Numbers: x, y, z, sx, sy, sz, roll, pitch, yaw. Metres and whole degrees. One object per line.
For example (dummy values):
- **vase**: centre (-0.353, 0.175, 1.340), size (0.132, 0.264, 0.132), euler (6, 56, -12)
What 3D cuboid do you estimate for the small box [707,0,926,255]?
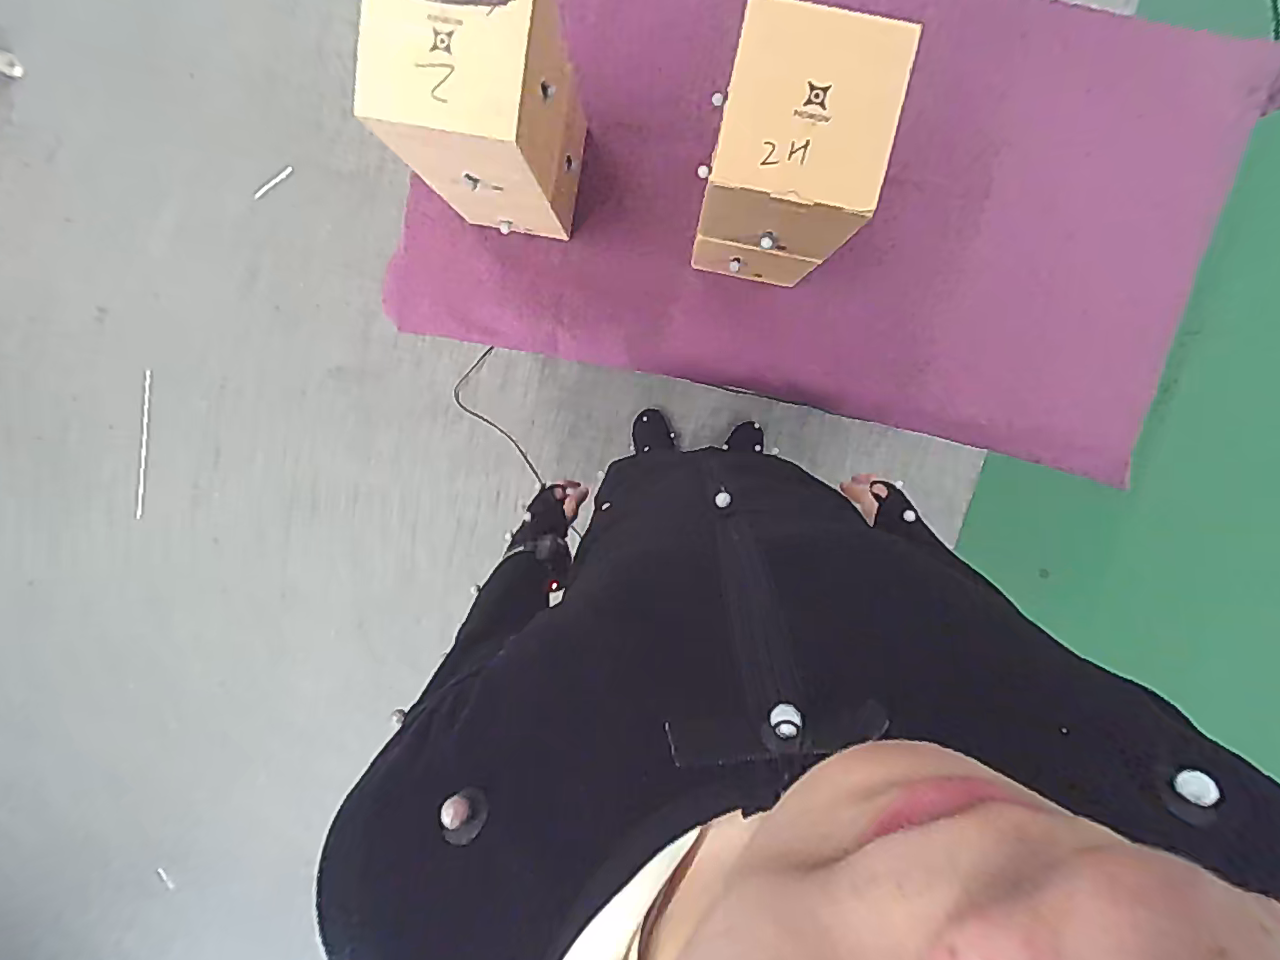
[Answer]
- **small box**: centre (0.175, -0.373, 0.595), size (0.168, 0.176, 0.179), euler (12, 98, 1)

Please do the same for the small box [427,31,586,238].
- **small box**: centre (-0.175, -0.465, 0.756), size (0.168, 0.176, 0.179), euler (11, 99, 0)

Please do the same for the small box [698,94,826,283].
- **small box**: centre (0.178, -0.391, 0.759), size (0.168, 0.176, 0.179), euler (11, 98, 1)
